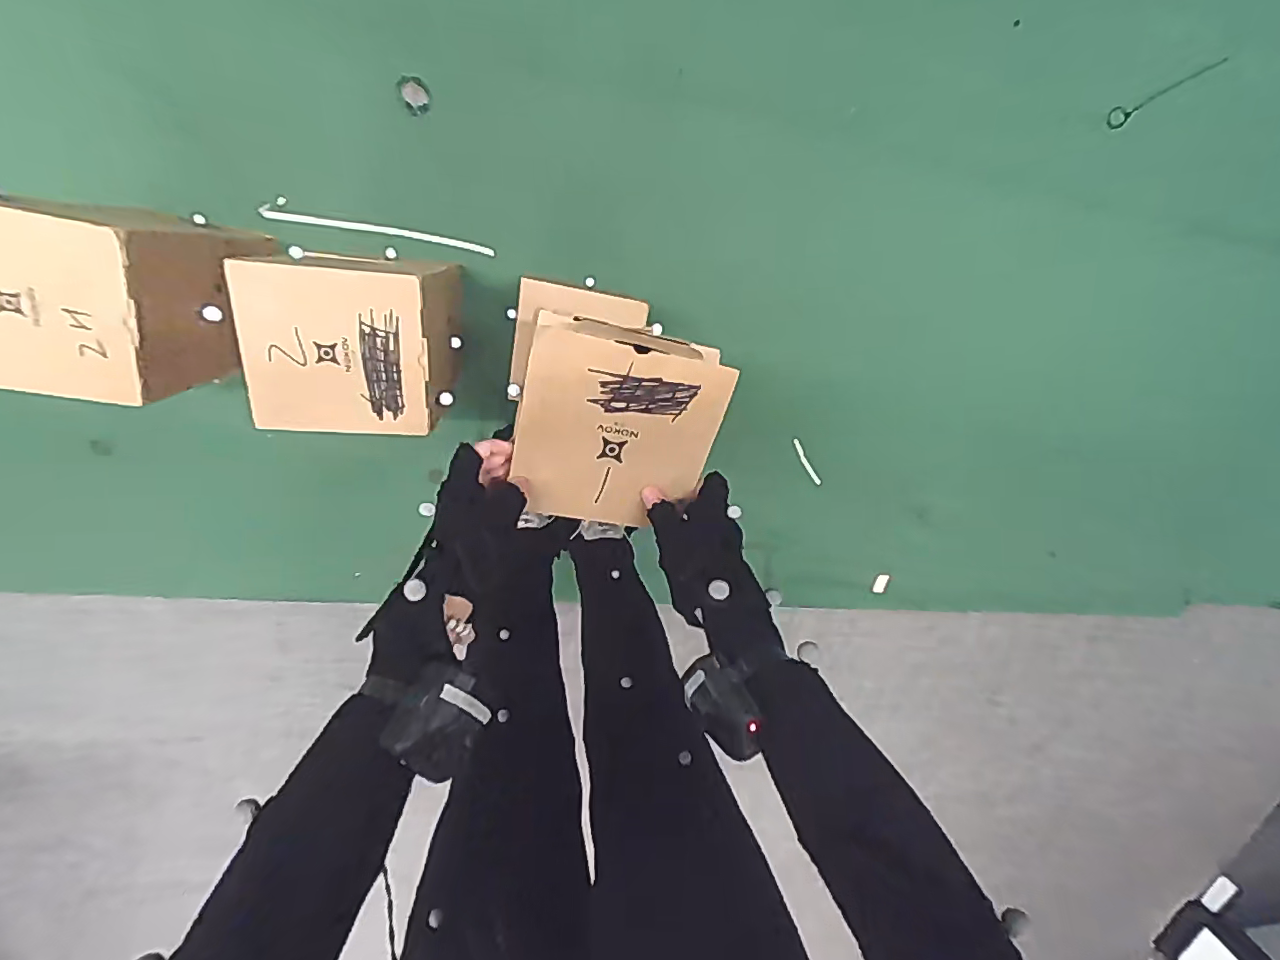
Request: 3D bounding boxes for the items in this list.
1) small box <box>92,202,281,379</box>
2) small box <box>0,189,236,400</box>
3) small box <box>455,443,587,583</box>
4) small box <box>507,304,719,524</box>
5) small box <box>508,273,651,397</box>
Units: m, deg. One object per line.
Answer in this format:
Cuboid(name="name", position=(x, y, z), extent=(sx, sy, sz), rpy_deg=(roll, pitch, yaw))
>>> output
Cuboid(name="small box", position=(-0.603, -0.252, 0.718), extent=(0.168, 0.176, 0.179), rpy_deg=(9, 111, -13))
Cuboid(name="small box", position=(-0.567, -0.196, 0.566), extent=(0.179, 0.176, 0.168), rpy_deg=(8, 111, -13))
Cuboid(name="small box", position=(-0.192, 0.039, 0.935), extent=(0.179, 0.176, 0.168), rpy_deg=(41, 114, -6))
Cuboid(name="small box", position=(-0.040, -0.075, 0.559), extent=(0.168, 0.176, 0.179), rpy_deg=(9, 106, -14))
Cuboid(name="small box", position=(-0.098, -0.213, 0.823), extent=(0.179, 0.176, 0.168), rpy_deg=(8, 111, -13))
